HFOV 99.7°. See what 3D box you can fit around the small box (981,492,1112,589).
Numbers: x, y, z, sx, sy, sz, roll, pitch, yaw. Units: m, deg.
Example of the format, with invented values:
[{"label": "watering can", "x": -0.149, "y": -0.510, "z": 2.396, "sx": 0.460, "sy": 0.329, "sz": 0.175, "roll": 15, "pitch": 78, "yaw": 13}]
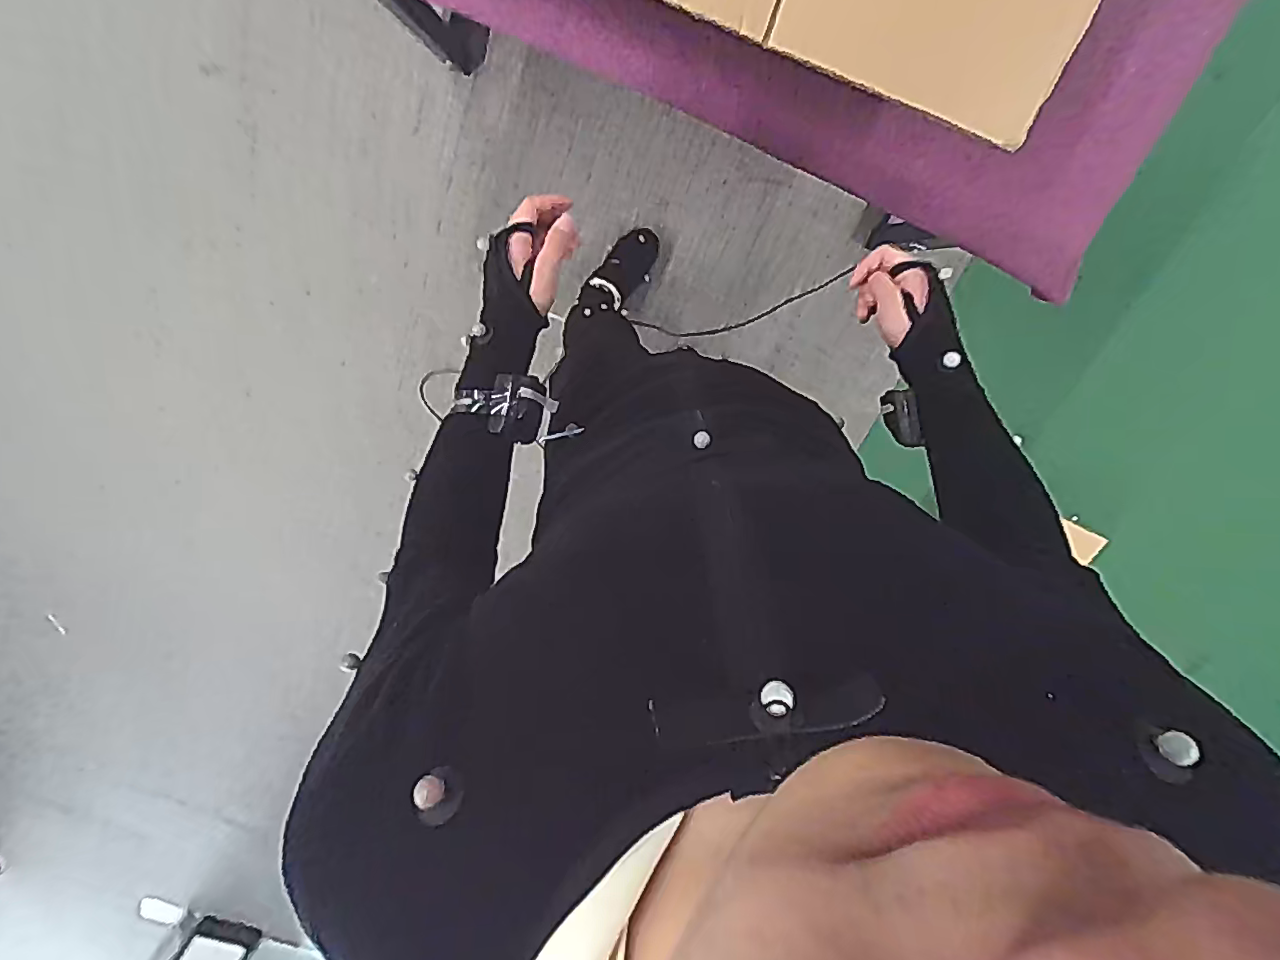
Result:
[{"label": "small box", "x": 1.059, "y": 0.152, "z": 1.425, "sx": 0.179, "sy": 0.176, "sz": 0.168, "roll": 24, "pitch": 109, "yaw": -8}]
